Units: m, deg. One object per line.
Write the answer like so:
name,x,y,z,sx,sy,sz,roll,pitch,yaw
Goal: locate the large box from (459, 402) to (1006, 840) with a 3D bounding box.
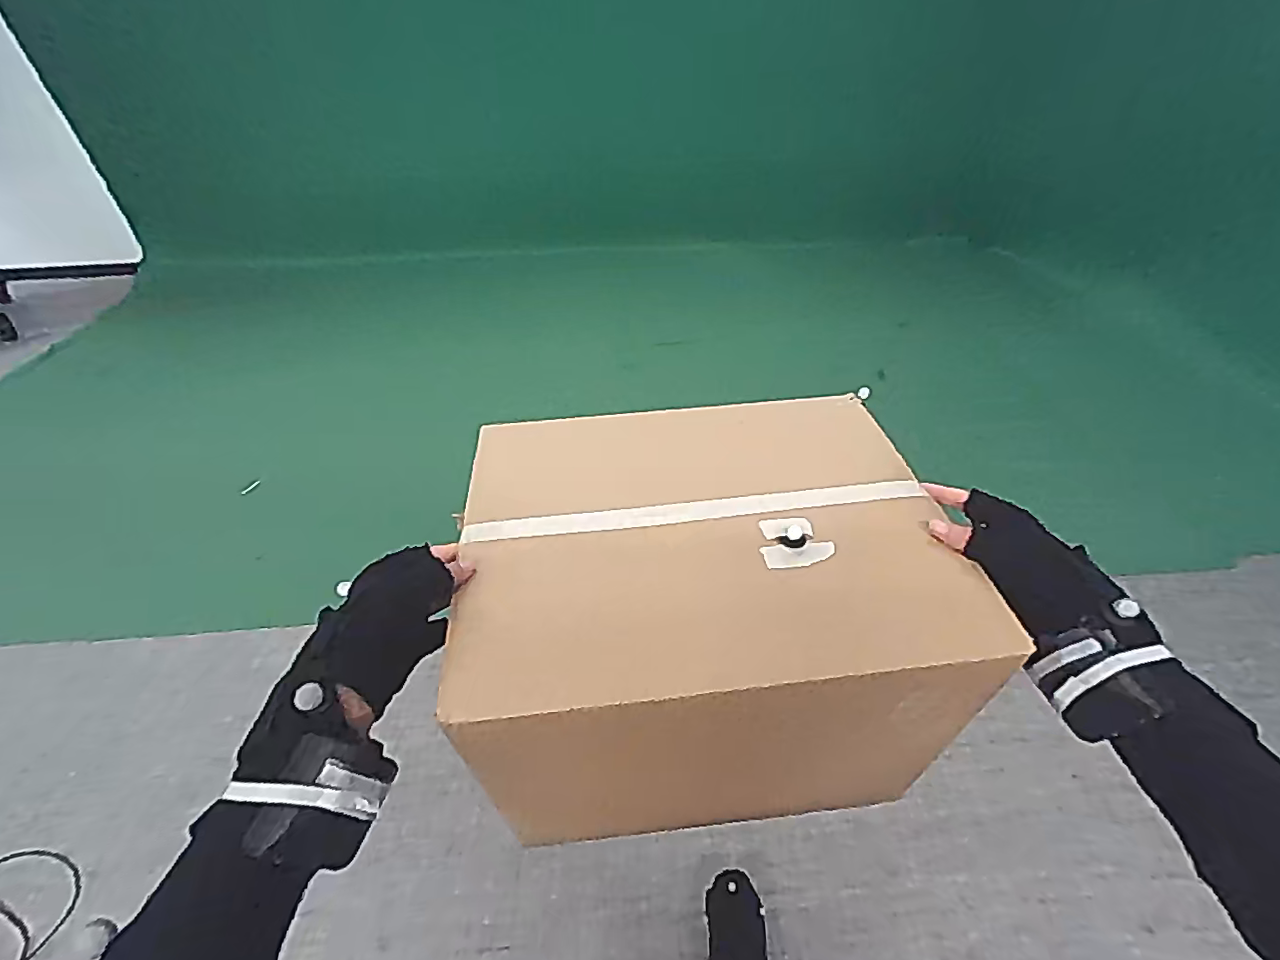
large box,0.057,0.145,0.585,0.408,0.320,0.320,-6,44,-4
